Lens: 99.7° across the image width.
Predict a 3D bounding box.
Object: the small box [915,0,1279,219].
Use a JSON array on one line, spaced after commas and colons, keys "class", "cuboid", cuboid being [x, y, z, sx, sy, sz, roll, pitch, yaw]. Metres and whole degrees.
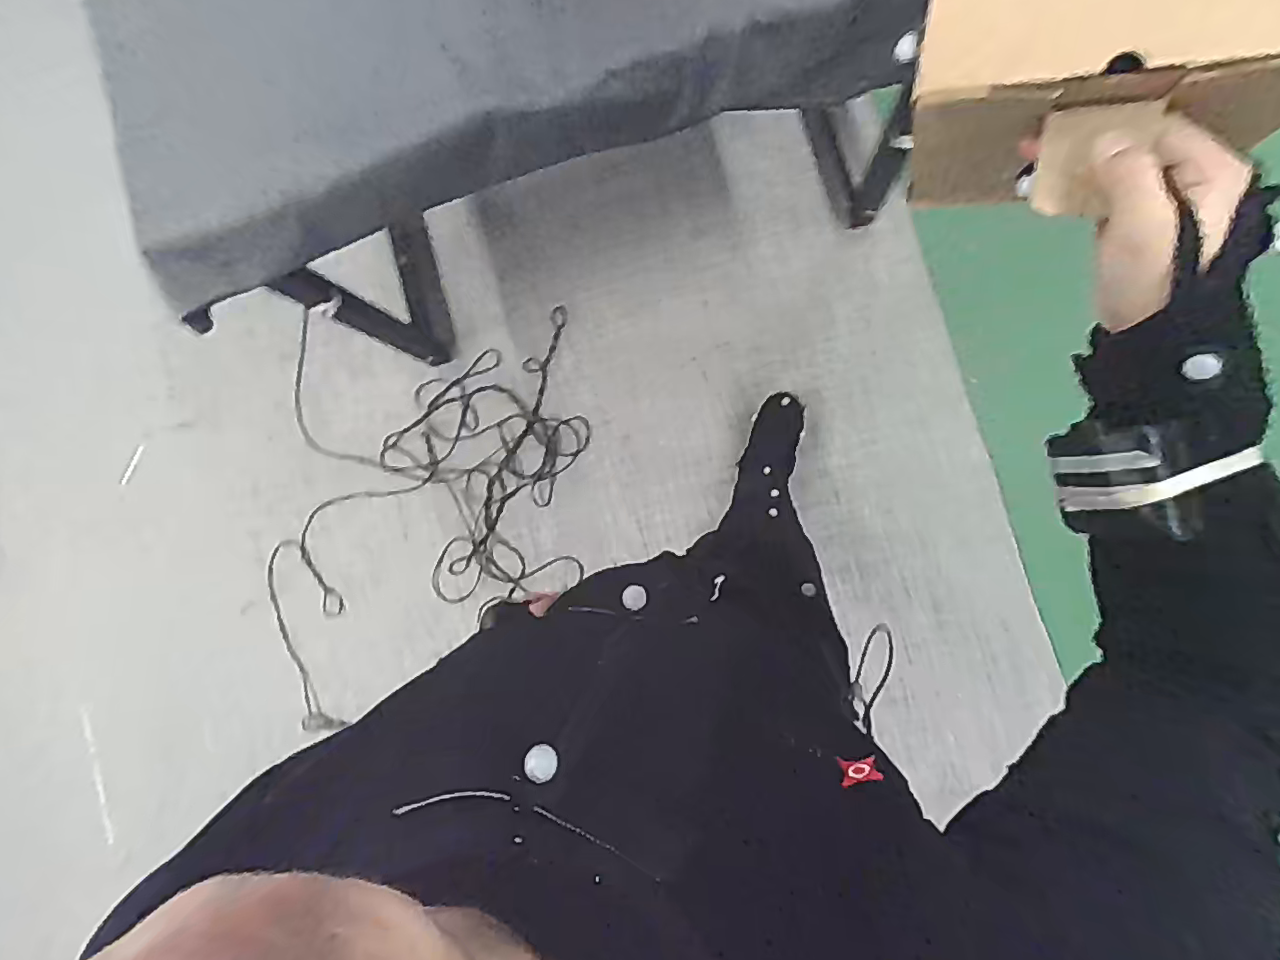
[{"class": "small box", "cuboid": [0.255, -0.260, 0.293, 0.168, 0.176, 0.179, 10, 102, 24]}]
